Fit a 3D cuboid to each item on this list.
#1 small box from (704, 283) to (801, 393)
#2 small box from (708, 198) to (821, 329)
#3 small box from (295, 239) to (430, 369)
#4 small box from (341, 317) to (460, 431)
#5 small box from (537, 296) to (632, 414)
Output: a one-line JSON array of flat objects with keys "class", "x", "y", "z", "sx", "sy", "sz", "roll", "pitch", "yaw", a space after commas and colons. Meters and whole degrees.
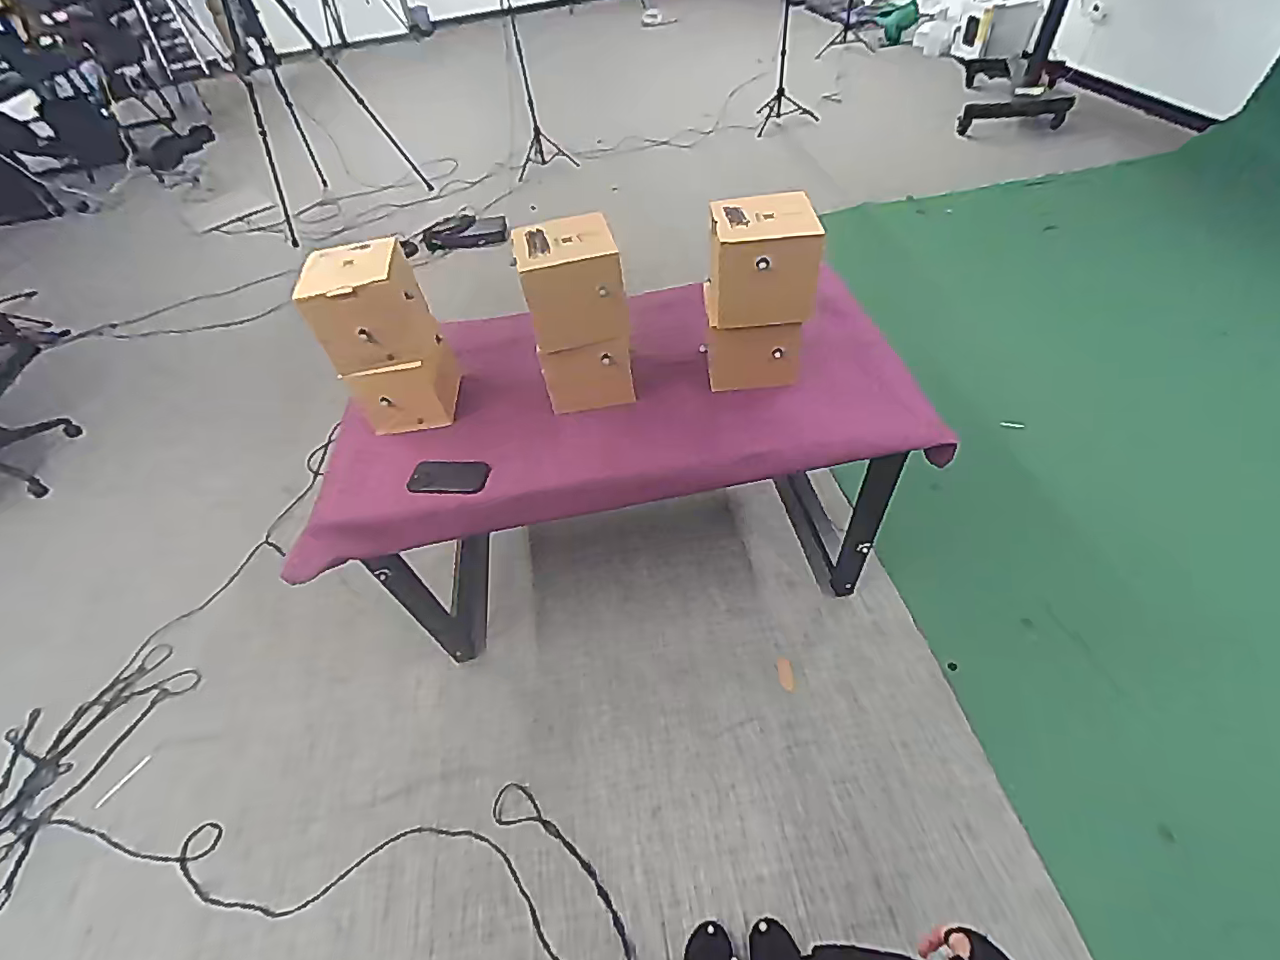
[{"class": "small box", "x": 0.226, "y": -0.300, "z": 1.133, "sx": 0.179, "sy": 0.176, "sz": 0.168, "roll": -4, "pitch": 49, "yaw": 5}, {"class": "small box", "x": 0.220, "y": -0.394, "z": 0.999, "sx": 0.179, "sy": 0.176, "sz": 0.168, "roll": -4, "pitch": 49, "yaw": 4}, {"class": "small box", "x": -0.518, "y": -0.331, "z": 1.040, "sx": 0.168, "sy": 0.176, "sz": 0.179, "roll": -11, "pitch": 50, "yaw": -3}, {"class": "small box", "x": -0.501, "y": -0.219, "z": 1.160, "sx": 0.168, "sy": 0.176, "sz": 0.179, "roll": -8, "pitch": 50, "yaw": 1}, {"class": "small box", "x": -0.112, "y": -0.262, "z": 1.143, "sx": 0.179, "sy": 0.176, "sz": 0.168, "roll": -9, "pitch": 49, "yaw": 1}]
